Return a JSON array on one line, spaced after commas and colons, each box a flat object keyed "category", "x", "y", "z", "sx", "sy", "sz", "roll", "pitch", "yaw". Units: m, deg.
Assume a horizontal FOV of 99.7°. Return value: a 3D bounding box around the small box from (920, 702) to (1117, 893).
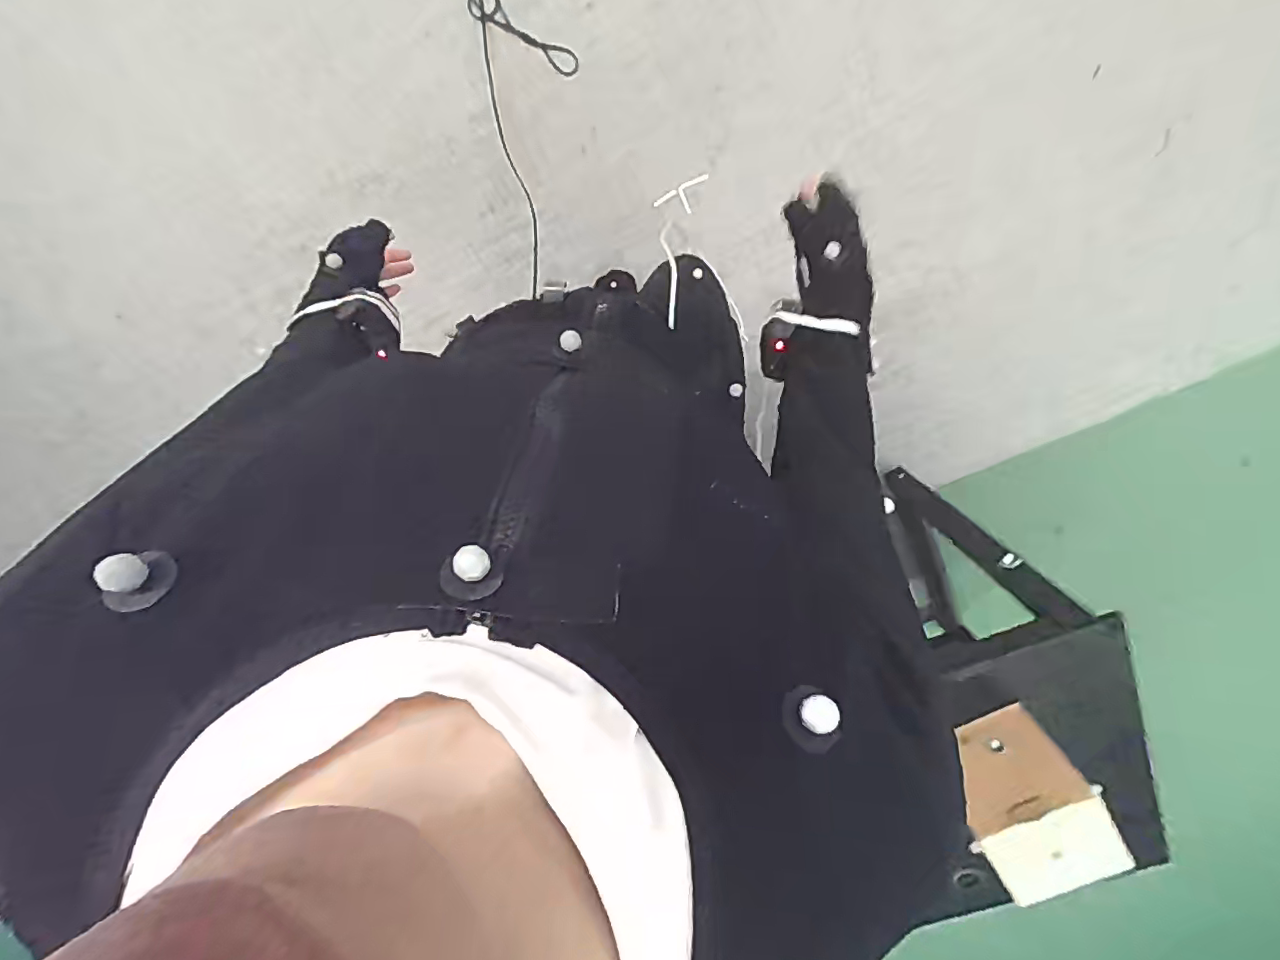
[{"category": "small box", "x": 0.583, "y": 0.493, "z": 0.853, "sx": 0.168, "sy": 0.176, "sz": 0.179, "roll": -32, "pitch": 107, "yaw": 13}]
